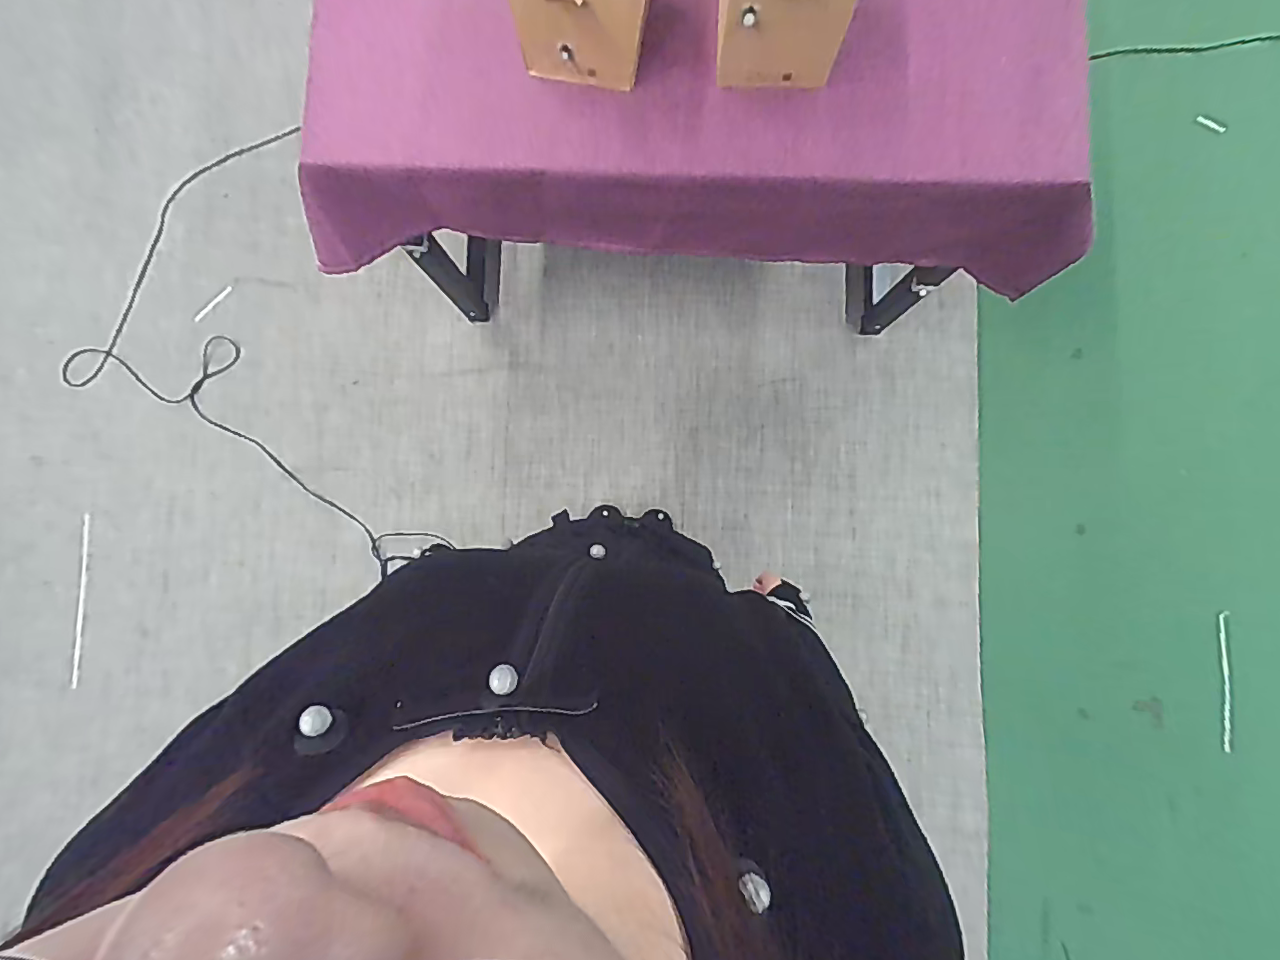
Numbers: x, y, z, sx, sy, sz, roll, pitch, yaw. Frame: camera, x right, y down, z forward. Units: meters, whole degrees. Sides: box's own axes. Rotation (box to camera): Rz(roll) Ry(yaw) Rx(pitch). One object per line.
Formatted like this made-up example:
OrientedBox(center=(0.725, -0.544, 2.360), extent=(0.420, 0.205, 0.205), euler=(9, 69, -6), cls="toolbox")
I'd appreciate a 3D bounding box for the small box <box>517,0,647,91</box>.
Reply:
OrientedBox(center=(-0.080, -0.714, 0.776), extent=(0.168, 0.176, 0.179), euler=(10, 87, 1), cls="small box")
